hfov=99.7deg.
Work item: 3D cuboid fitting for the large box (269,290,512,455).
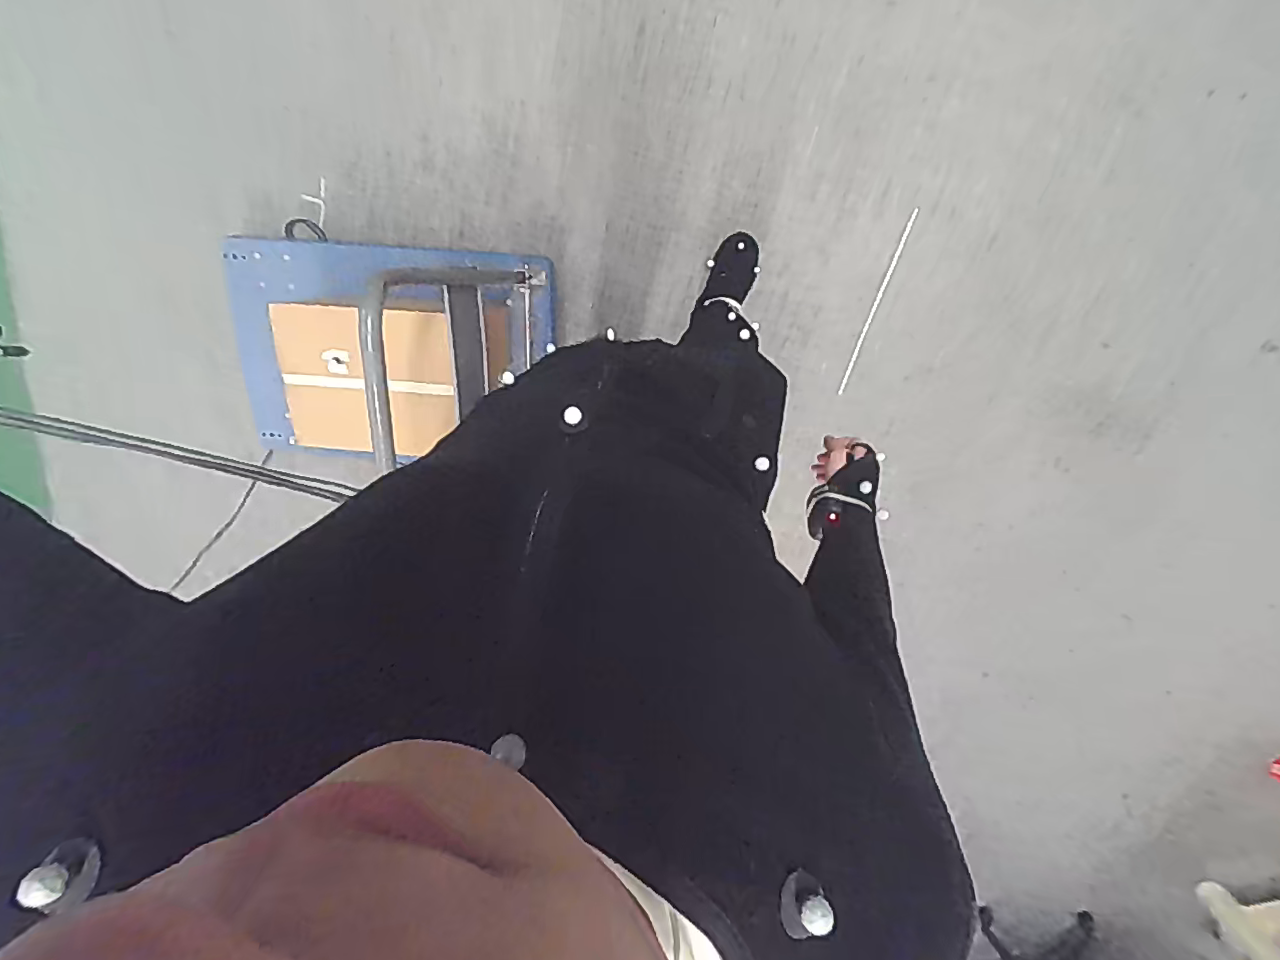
[{"bbox_3d":[-0.551,-0.269,1.278,0.408,0.320,0.320,6,112,5],"label":"large box"}]
